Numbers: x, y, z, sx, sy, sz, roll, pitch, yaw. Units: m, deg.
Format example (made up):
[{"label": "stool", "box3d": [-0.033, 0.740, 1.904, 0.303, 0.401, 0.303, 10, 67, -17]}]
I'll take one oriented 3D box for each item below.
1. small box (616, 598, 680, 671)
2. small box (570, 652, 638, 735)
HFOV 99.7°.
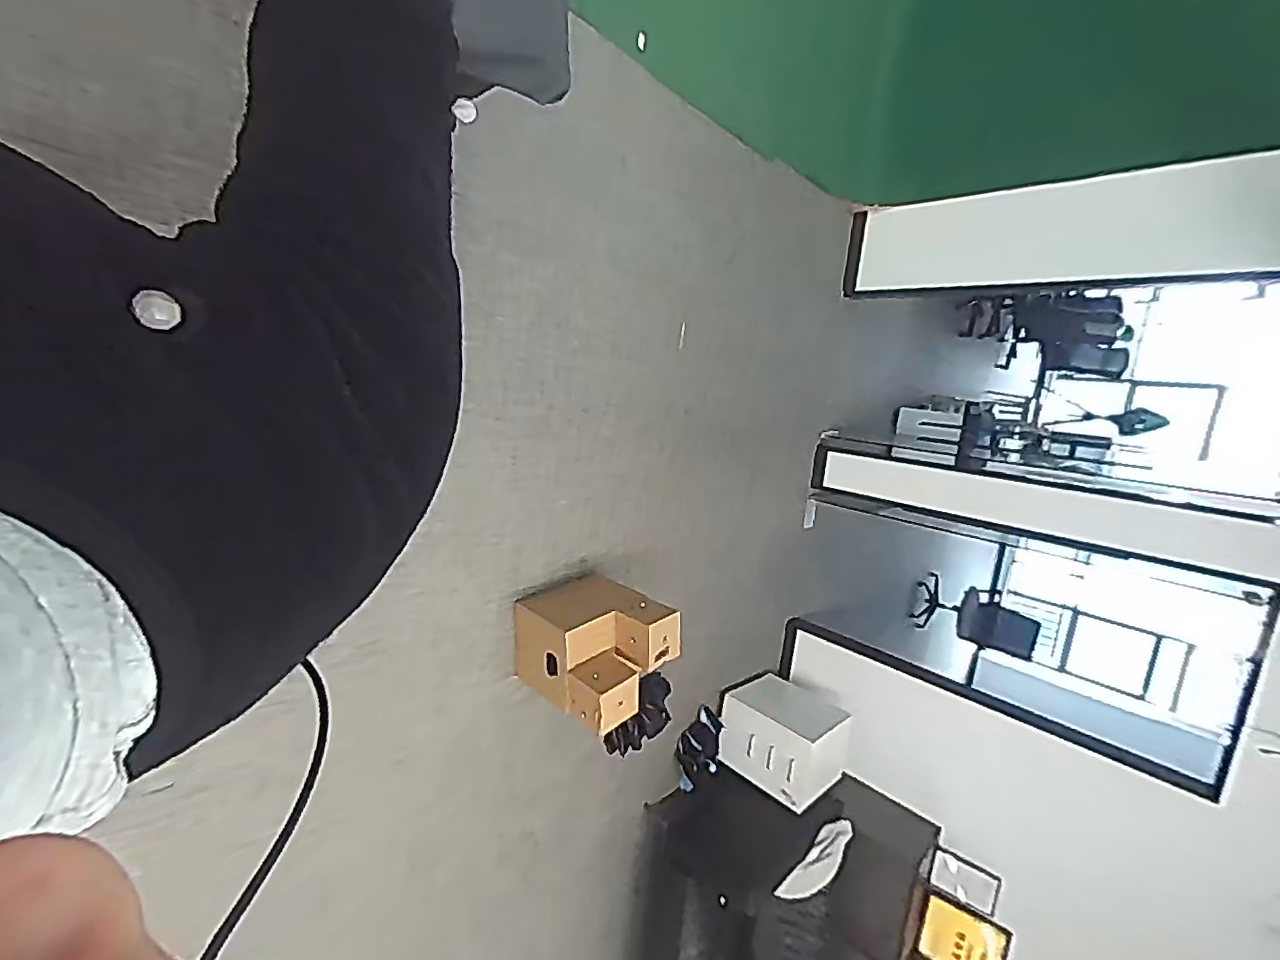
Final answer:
[{"label": "small box", "box3d": [0.027, 0.550, 1.947, 0.168, 0.176, 0.179, -11, 106, -44]}, {"label": "small box", "box3d": [-0.125, 0.717, 1.835, 0.179, 0.176, 0.168, -18, 116, -44]}]
